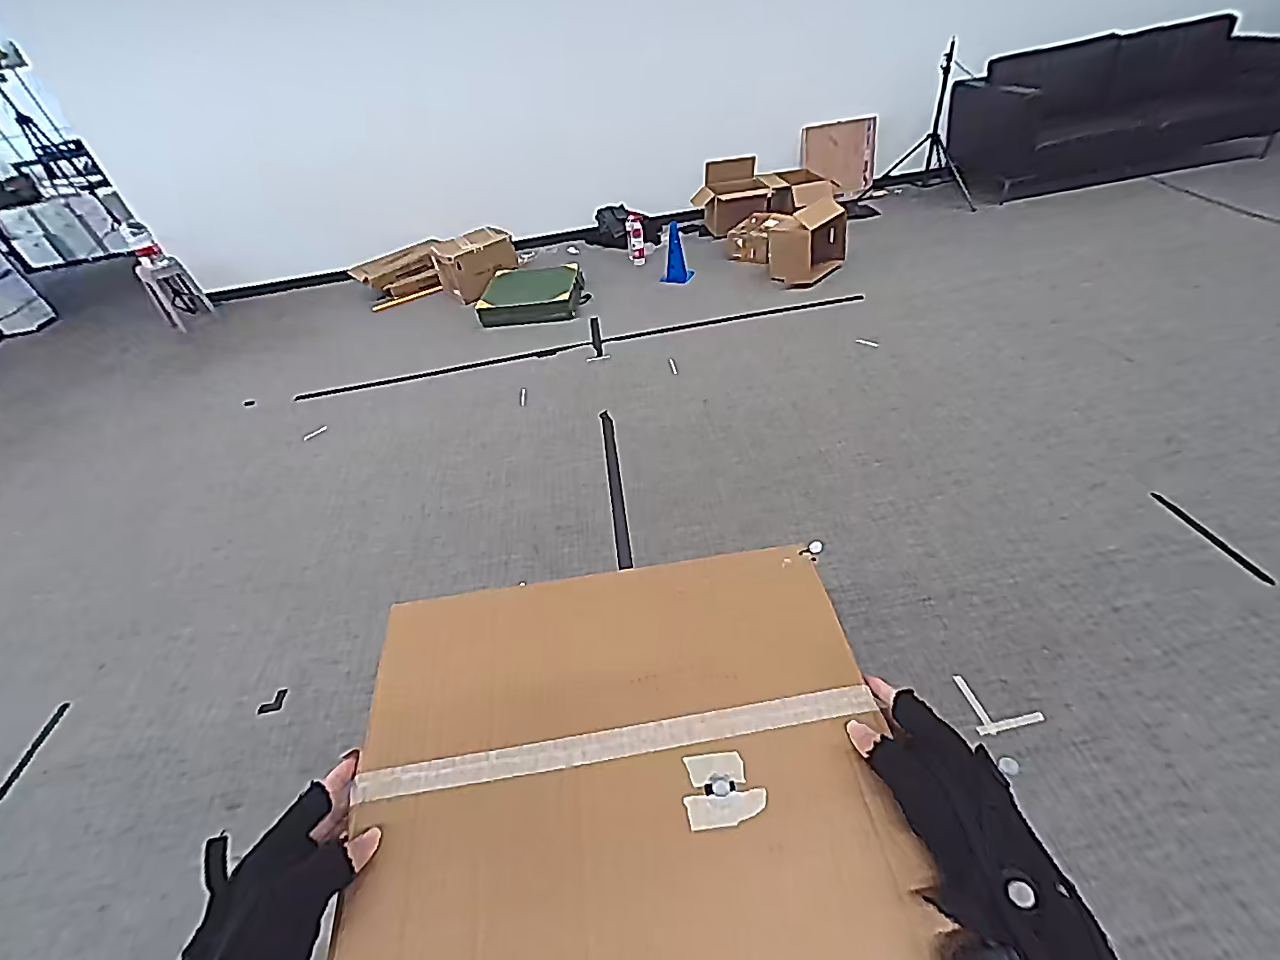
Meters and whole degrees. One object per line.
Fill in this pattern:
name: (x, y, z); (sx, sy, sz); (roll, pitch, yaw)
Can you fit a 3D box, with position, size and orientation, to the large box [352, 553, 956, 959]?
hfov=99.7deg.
large box: (-0.004, 0.314, 0.545); (0.408, 0.320, 0.320); (-8, 48, -4)
